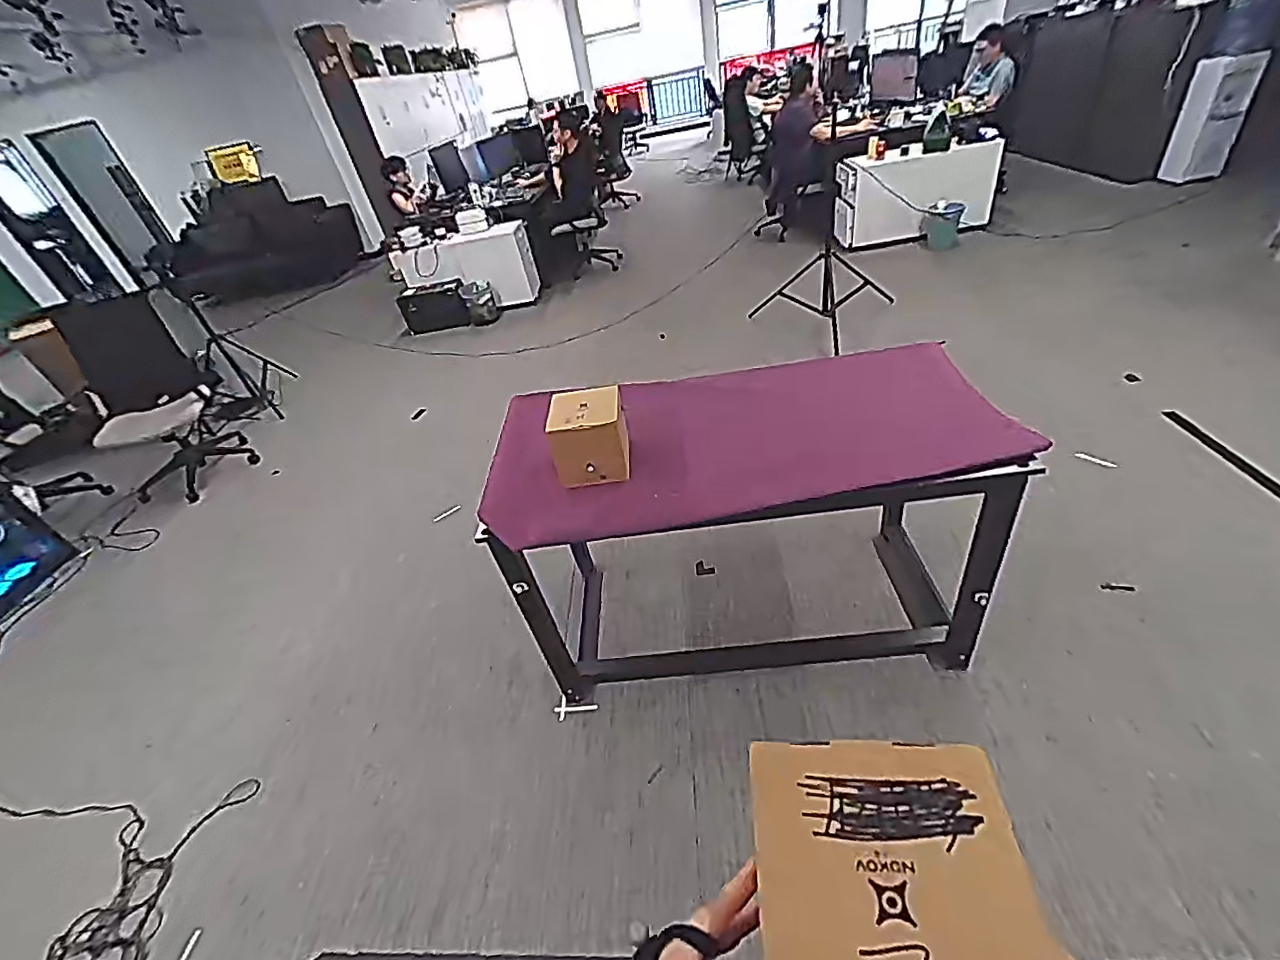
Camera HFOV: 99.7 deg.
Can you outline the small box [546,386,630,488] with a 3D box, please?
[{"bbox_3d":[-0.119,-0.104,1.308,0.168,0.176,0.179,-8,38,4],"label":"small box"}]
